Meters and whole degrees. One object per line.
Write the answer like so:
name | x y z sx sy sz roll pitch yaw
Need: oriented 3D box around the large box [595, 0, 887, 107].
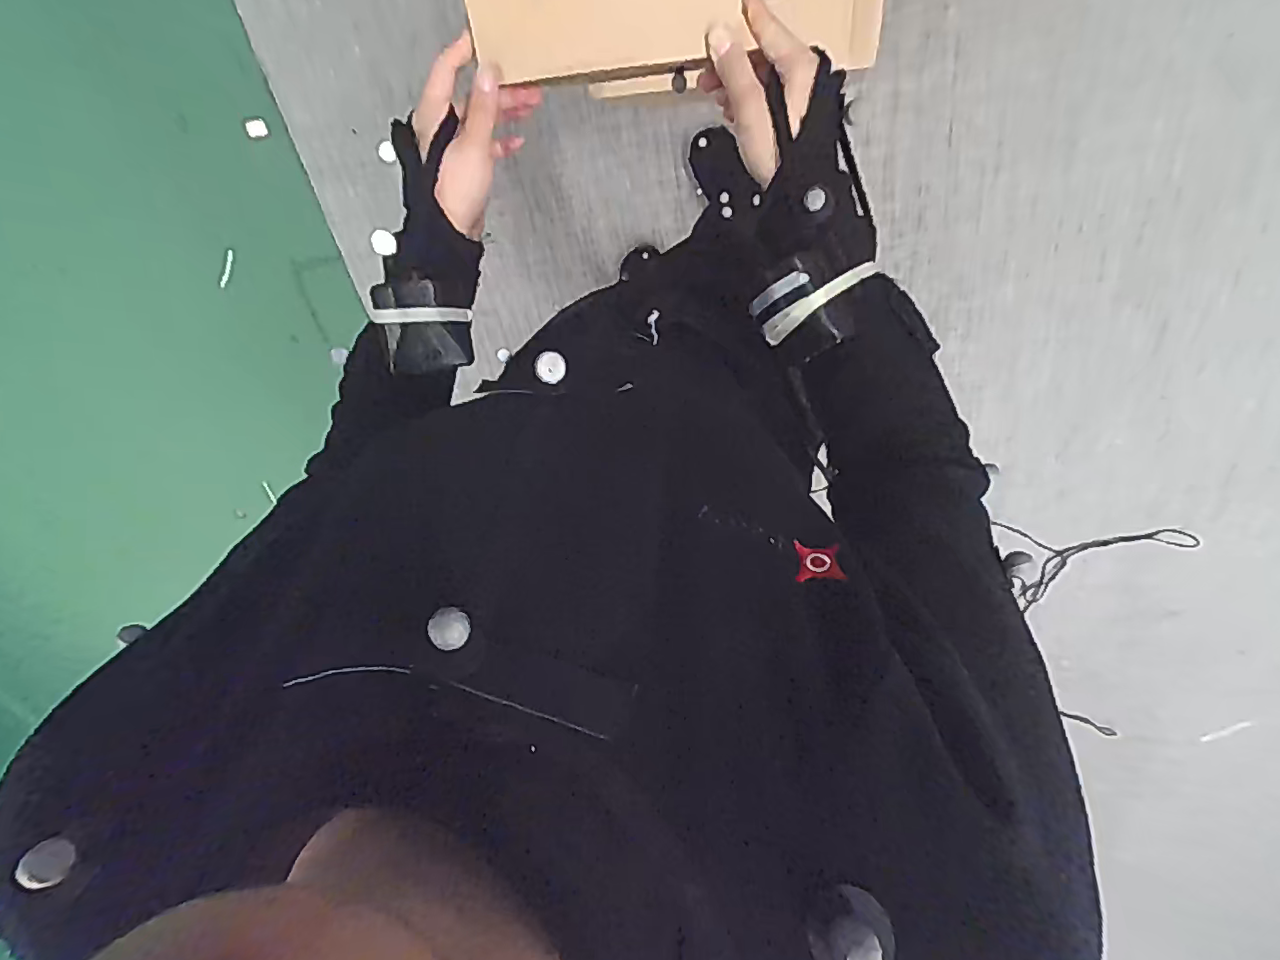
large box | 0.135 -0.775 0.808 0.408 0.320 0.320 0 123 10

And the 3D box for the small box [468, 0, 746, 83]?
small box | -0.021 -0.387 0.373 0.179 0.176 0.168 -2 124 10
